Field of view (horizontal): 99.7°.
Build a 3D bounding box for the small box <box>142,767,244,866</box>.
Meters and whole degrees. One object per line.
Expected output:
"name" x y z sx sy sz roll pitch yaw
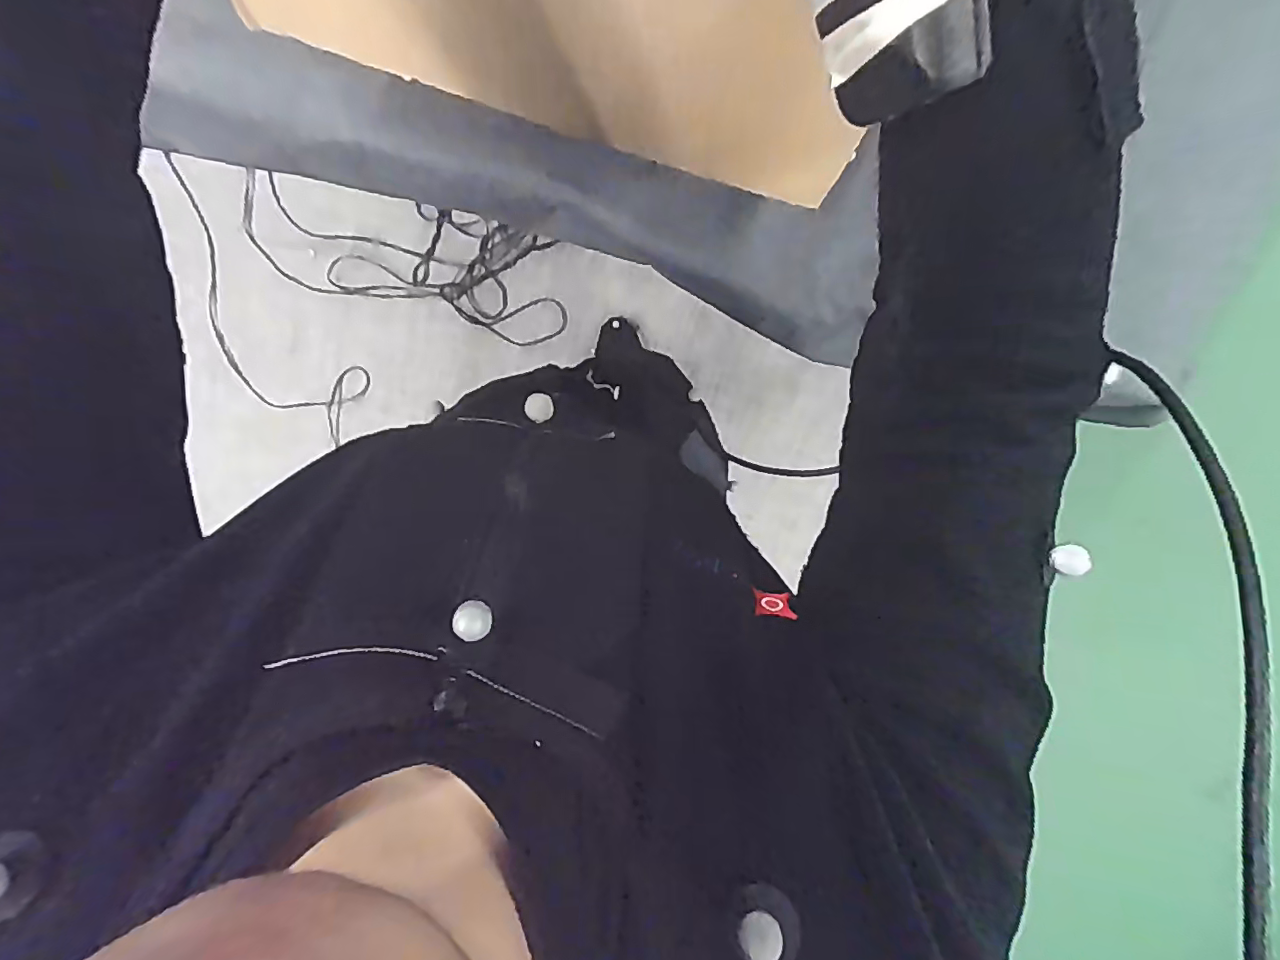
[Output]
"small box" -1.348 1.014 1.641 0.168 0.176 0.179 20 107 -5
